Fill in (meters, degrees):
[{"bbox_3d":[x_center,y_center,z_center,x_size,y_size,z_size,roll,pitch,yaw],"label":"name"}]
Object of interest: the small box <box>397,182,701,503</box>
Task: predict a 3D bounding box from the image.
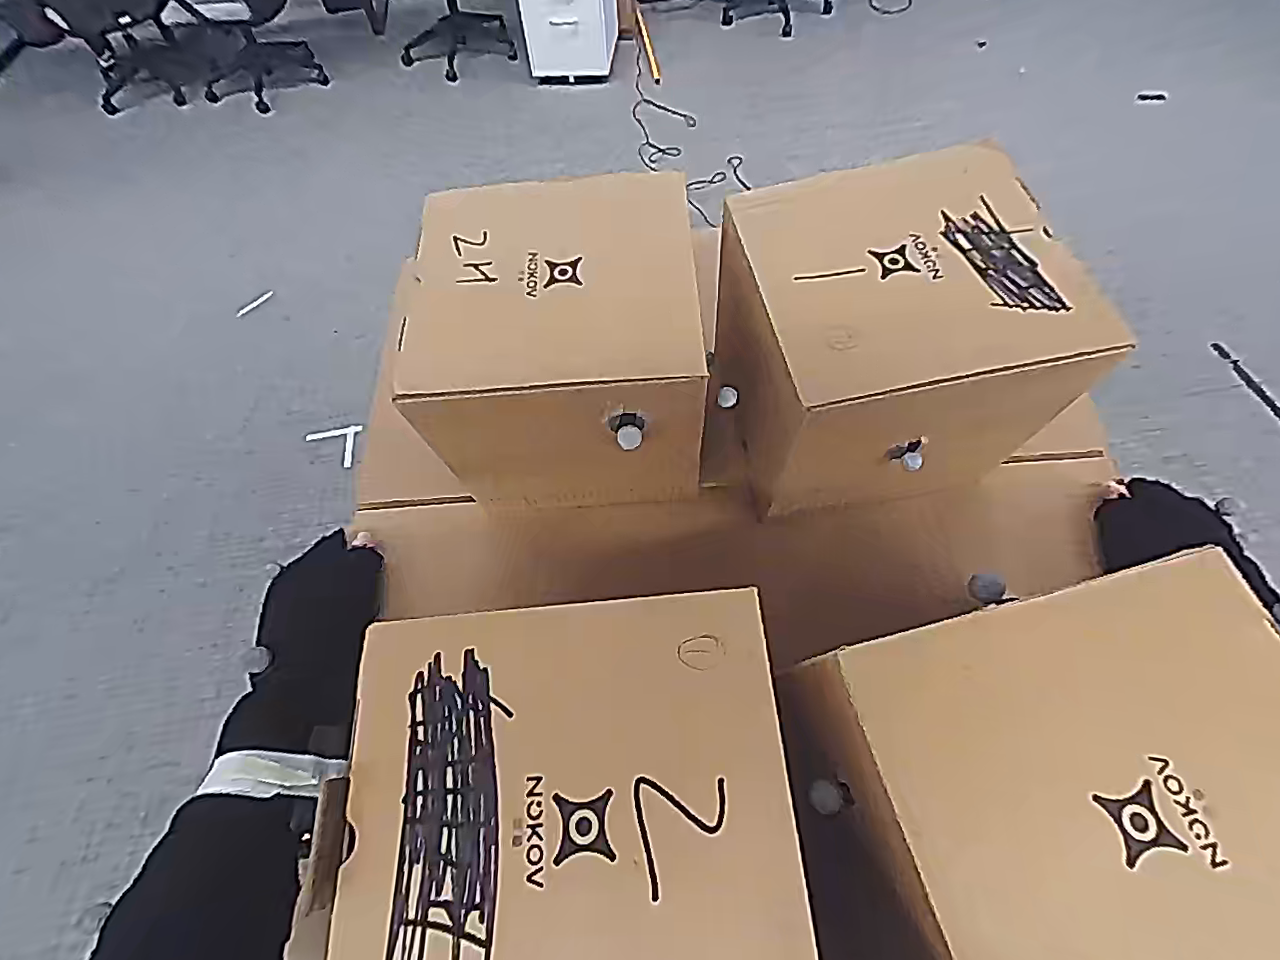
[{"bbox_3d":[-0.049,-0.090,0.410,0.179,0.176,0.168,-3,64,4],"label":"small box"}]
